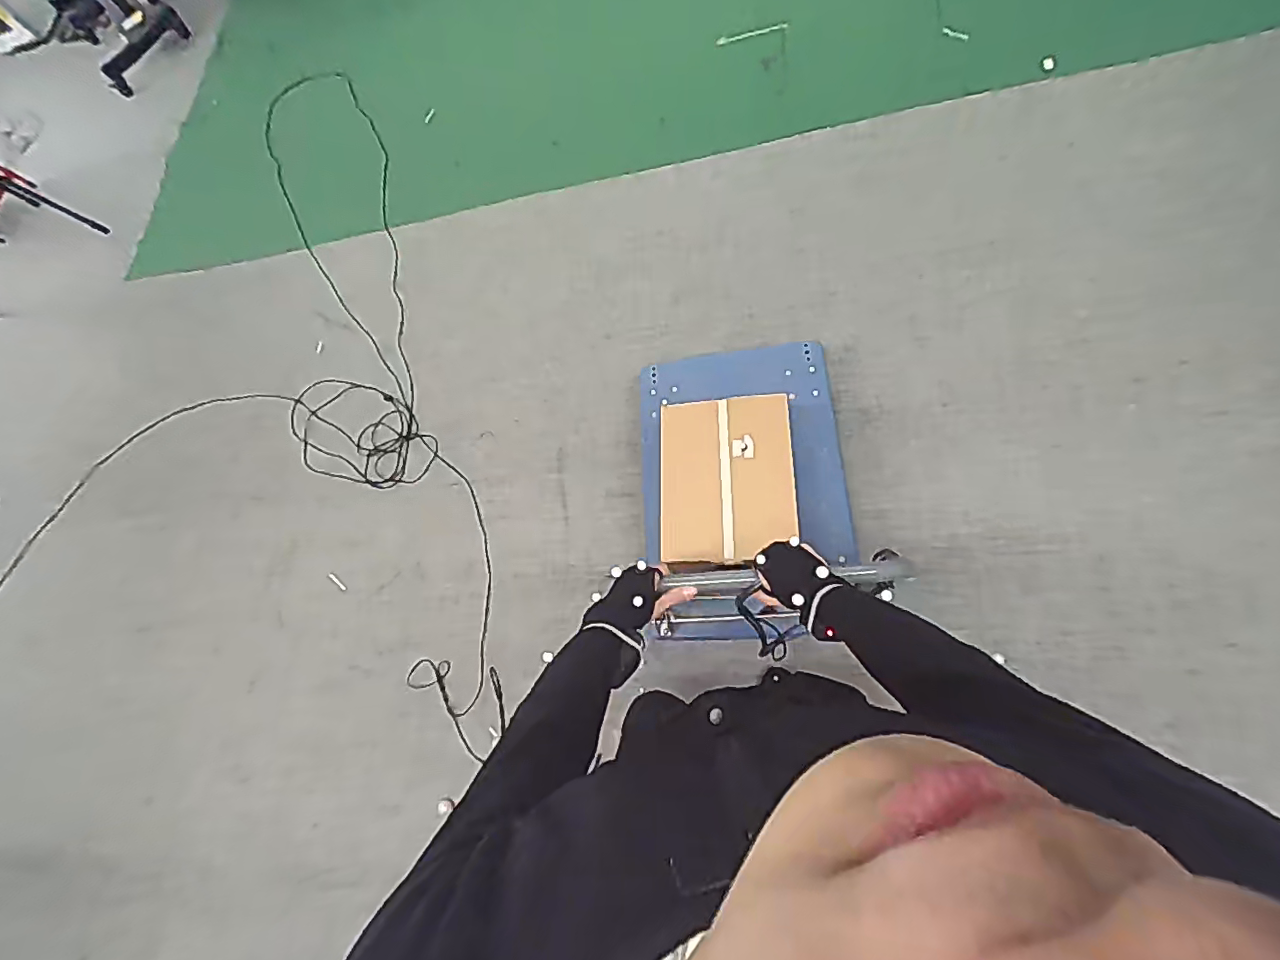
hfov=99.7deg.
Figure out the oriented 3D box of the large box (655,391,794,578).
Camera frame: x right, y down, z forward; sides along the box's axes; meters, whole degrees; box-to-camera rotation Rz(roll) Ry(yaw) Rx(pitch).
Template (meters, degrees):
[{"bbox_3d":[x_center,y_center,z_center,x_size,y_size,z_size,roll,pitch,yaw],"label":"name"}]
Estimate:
[{"bbox_3d":[0.221,0.029,1.413,0.320,0.320,0.408,-4,70,12],"label":"large box"}]
